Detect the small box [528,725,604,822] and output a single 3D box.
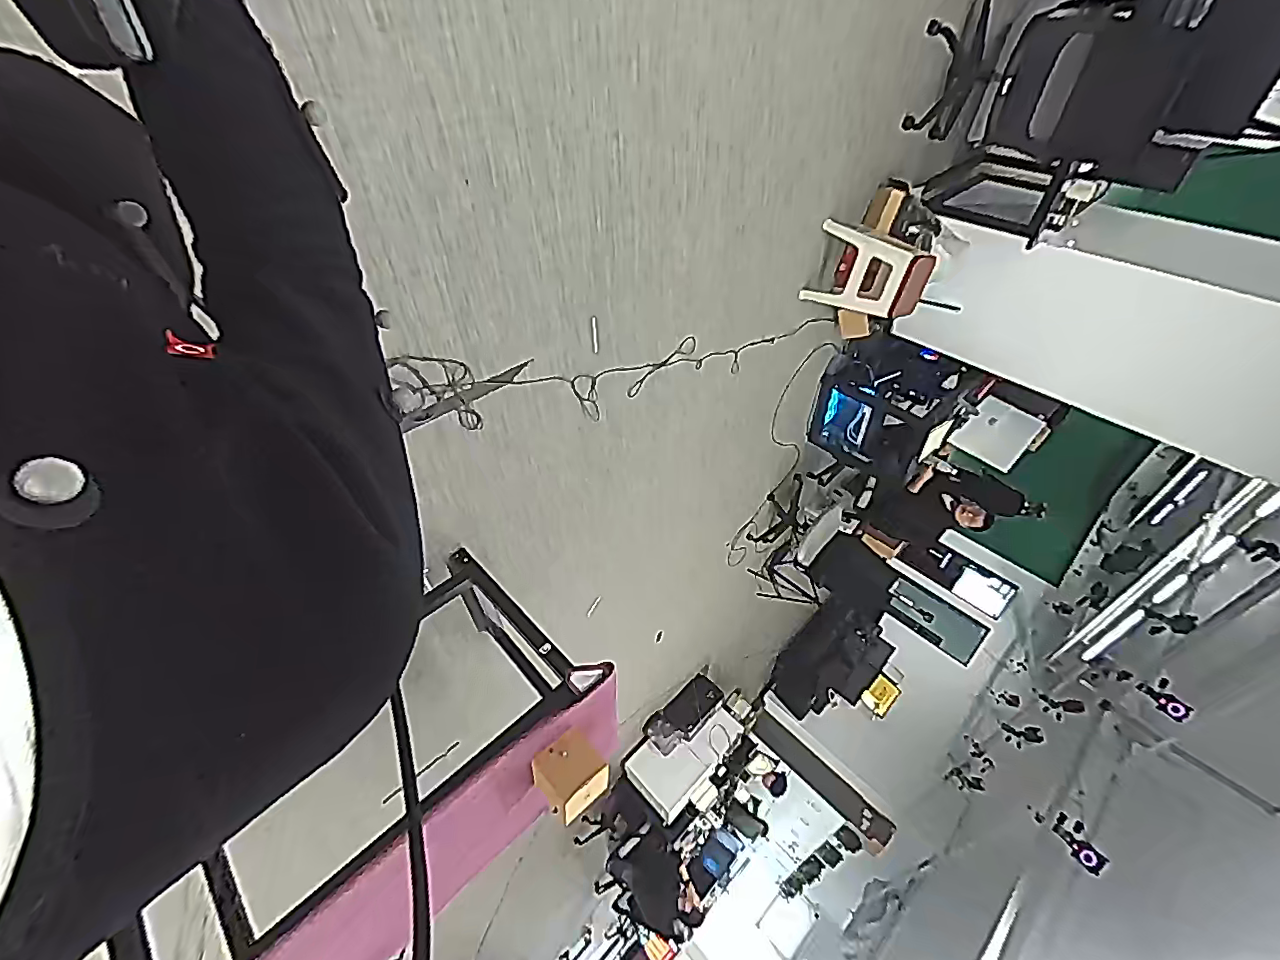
[{"bbox_3d":[-0.230,0.899,1.667,0.168,0.176,0.179,-30,141,-35],"label":"small box"}]
